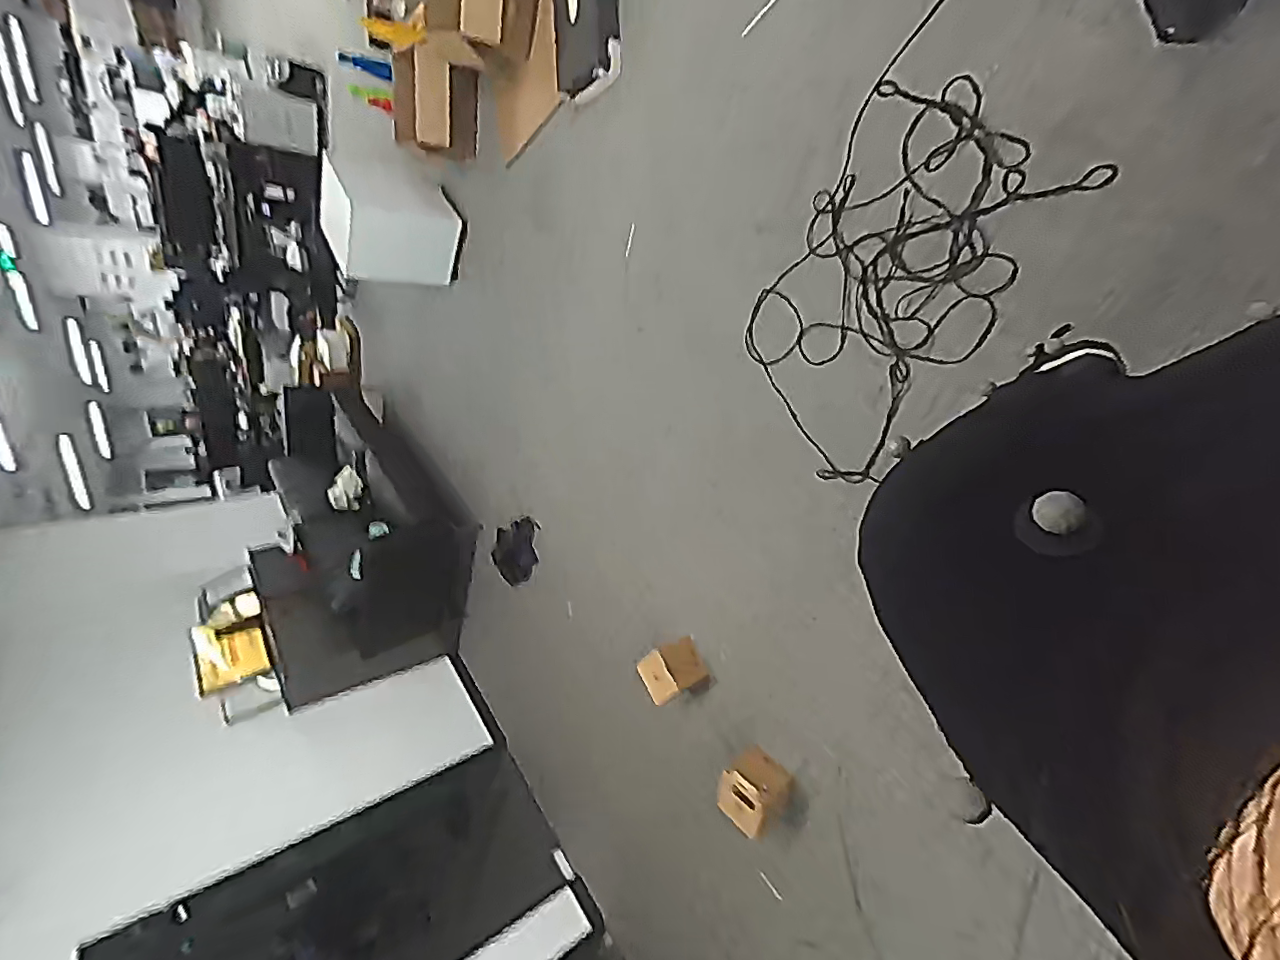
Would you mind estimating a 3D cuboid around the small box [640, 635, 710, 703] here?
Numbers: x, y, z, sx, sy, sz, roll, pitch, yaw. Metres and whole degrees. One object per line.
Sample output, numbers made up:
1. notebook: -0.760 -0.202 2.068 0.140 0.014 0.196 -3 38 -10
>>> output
1. small box: 0.134 0.721 2.063 0.168 0.176 0.179 59 136 24
